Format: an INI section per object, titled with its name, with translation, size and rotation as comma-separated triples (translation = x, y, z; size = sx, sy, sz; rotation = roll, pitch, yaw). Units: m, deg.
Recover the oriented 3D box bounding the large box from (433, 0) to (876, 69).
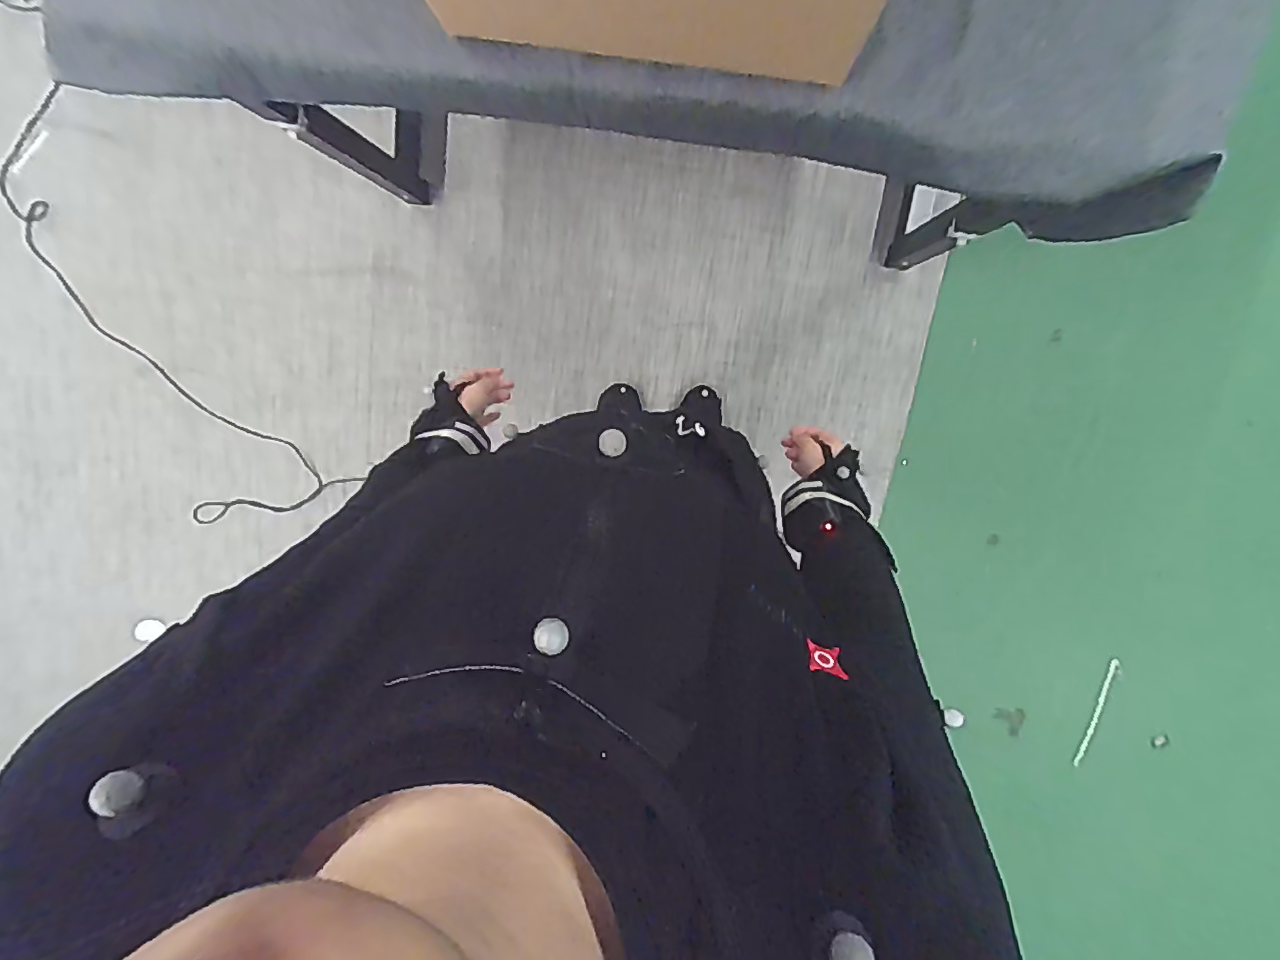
[large box]
translation = 0.012, -0.550, 0.368
size = 0.408, 0.320, 0.320
rotation = 8, 101, 2
